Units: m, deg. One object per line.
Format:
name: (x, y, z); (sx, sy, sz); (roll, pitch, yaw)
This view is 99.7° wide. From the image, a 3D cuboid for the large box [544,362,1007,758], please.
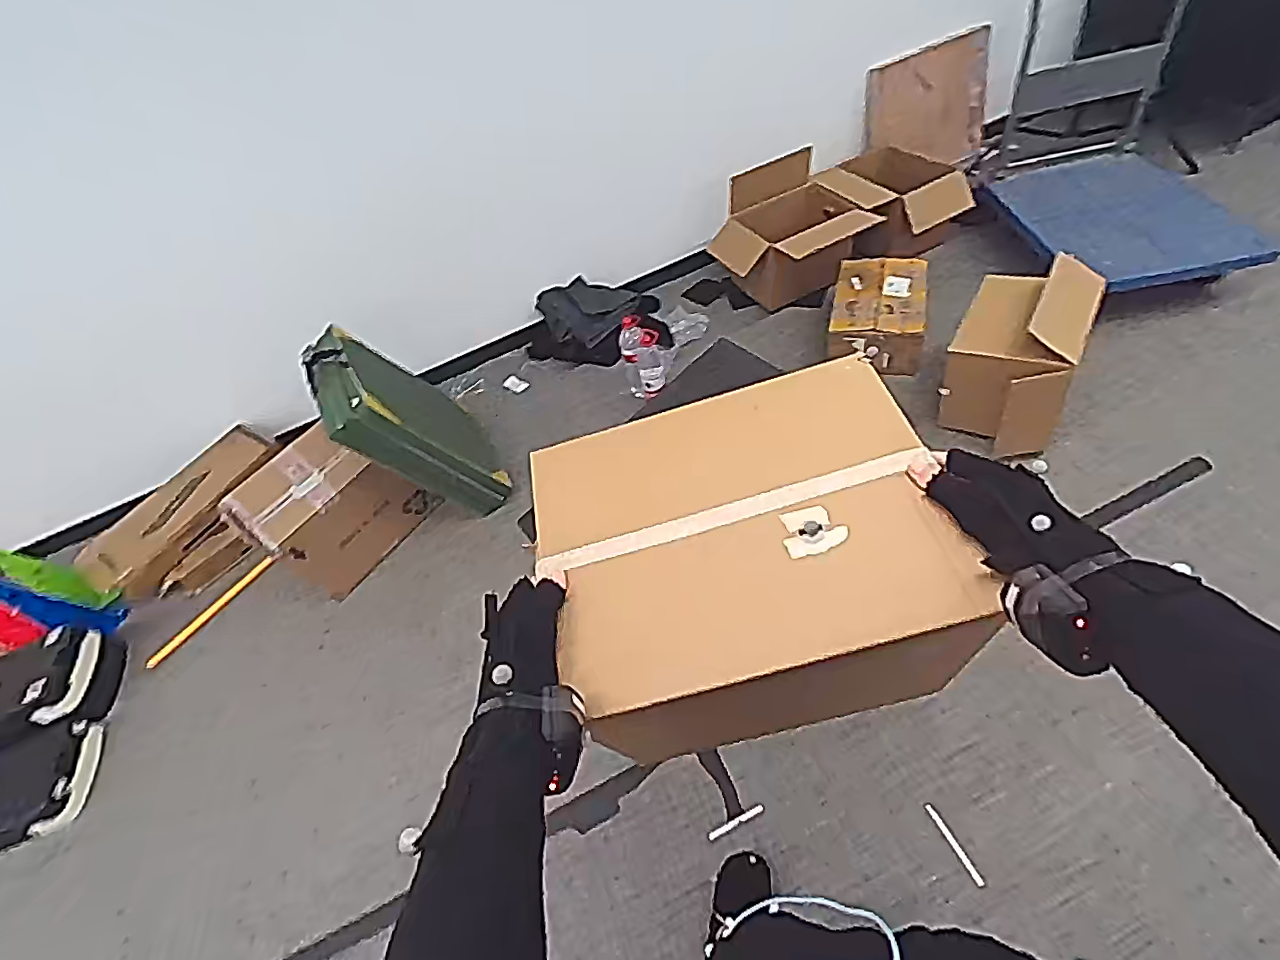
large box: (0.130, 0.118, 0.680); (0.408, 0.320, 0.320); (-16, 55, 4)
